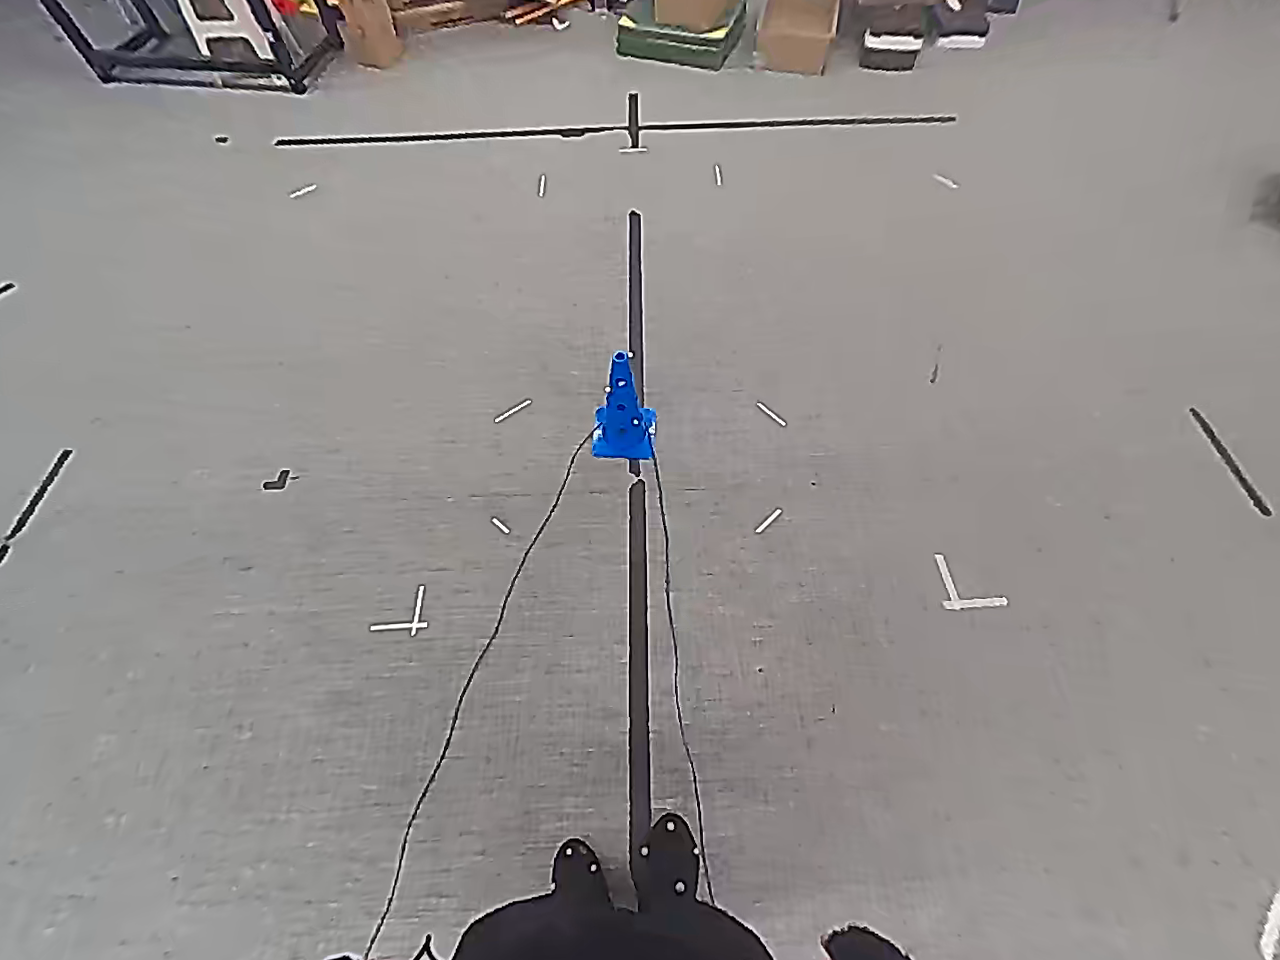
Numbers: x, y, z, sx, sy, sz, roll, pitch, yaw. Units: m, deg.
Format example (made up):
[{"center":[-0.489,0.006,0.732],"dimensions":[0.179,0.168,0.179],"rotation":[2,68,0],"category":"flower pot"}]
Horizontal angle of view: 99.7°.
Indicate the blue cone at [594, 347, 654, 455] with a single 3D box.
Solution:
[{"center":[-0.056,-0.241,1.593],"dimensions":[0.193,0.380,0.192],"rotation":[1,60,2],"category":"blue cone"}]
